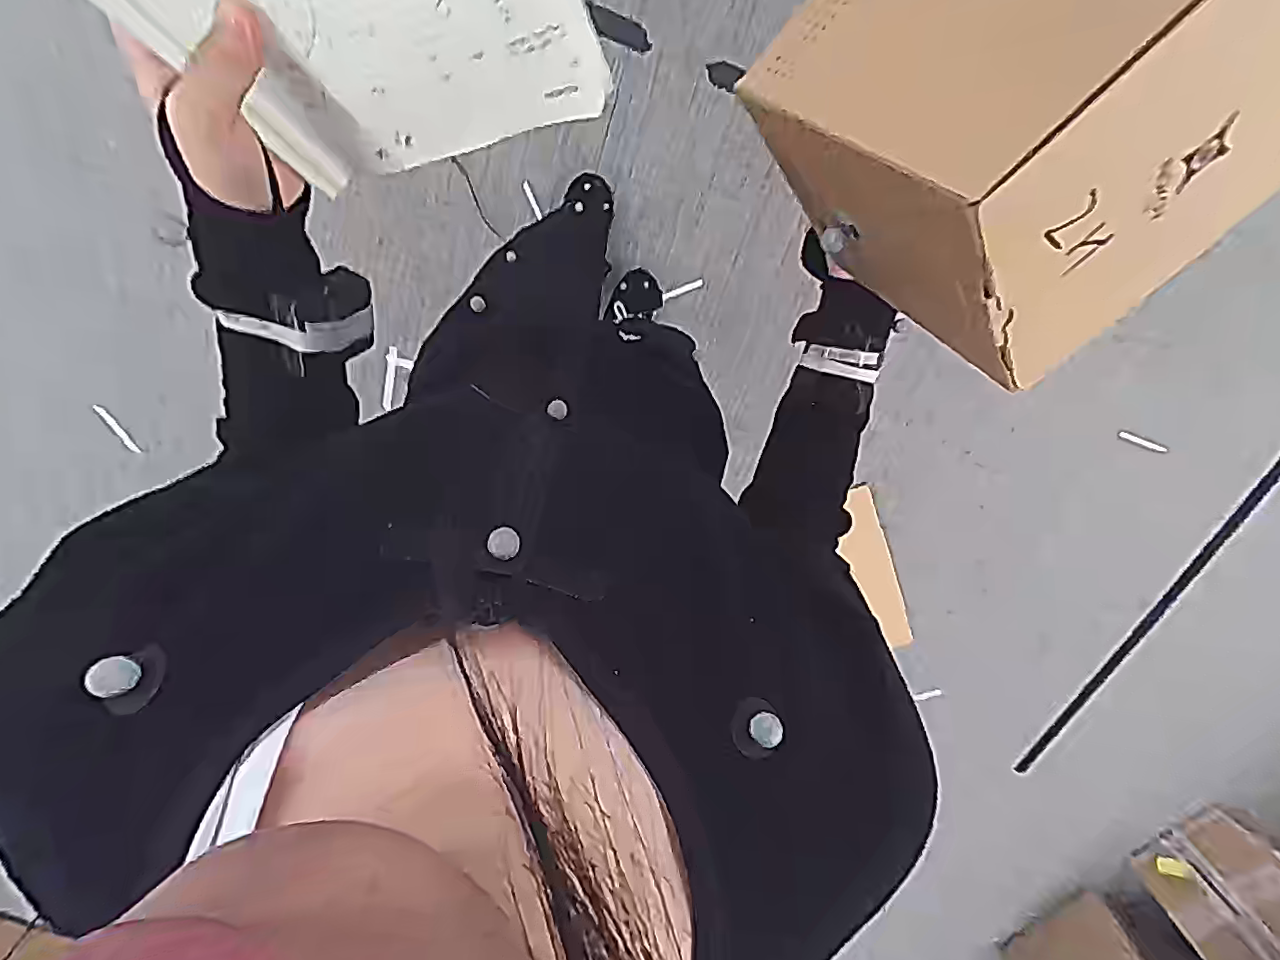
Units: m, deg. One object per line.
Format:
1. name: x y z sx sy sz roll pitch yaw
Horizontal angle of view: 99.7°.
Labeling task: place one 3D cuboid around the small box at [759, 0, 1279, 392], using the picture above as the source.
1. small box: 0.195 -0.185 0.271 0.179 0.176 0.168 -44 141 17

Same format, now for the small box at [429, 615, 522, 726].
1. small box: -0.393 0.456 1.314 0.168 0.176 0.179 15 112 -5
